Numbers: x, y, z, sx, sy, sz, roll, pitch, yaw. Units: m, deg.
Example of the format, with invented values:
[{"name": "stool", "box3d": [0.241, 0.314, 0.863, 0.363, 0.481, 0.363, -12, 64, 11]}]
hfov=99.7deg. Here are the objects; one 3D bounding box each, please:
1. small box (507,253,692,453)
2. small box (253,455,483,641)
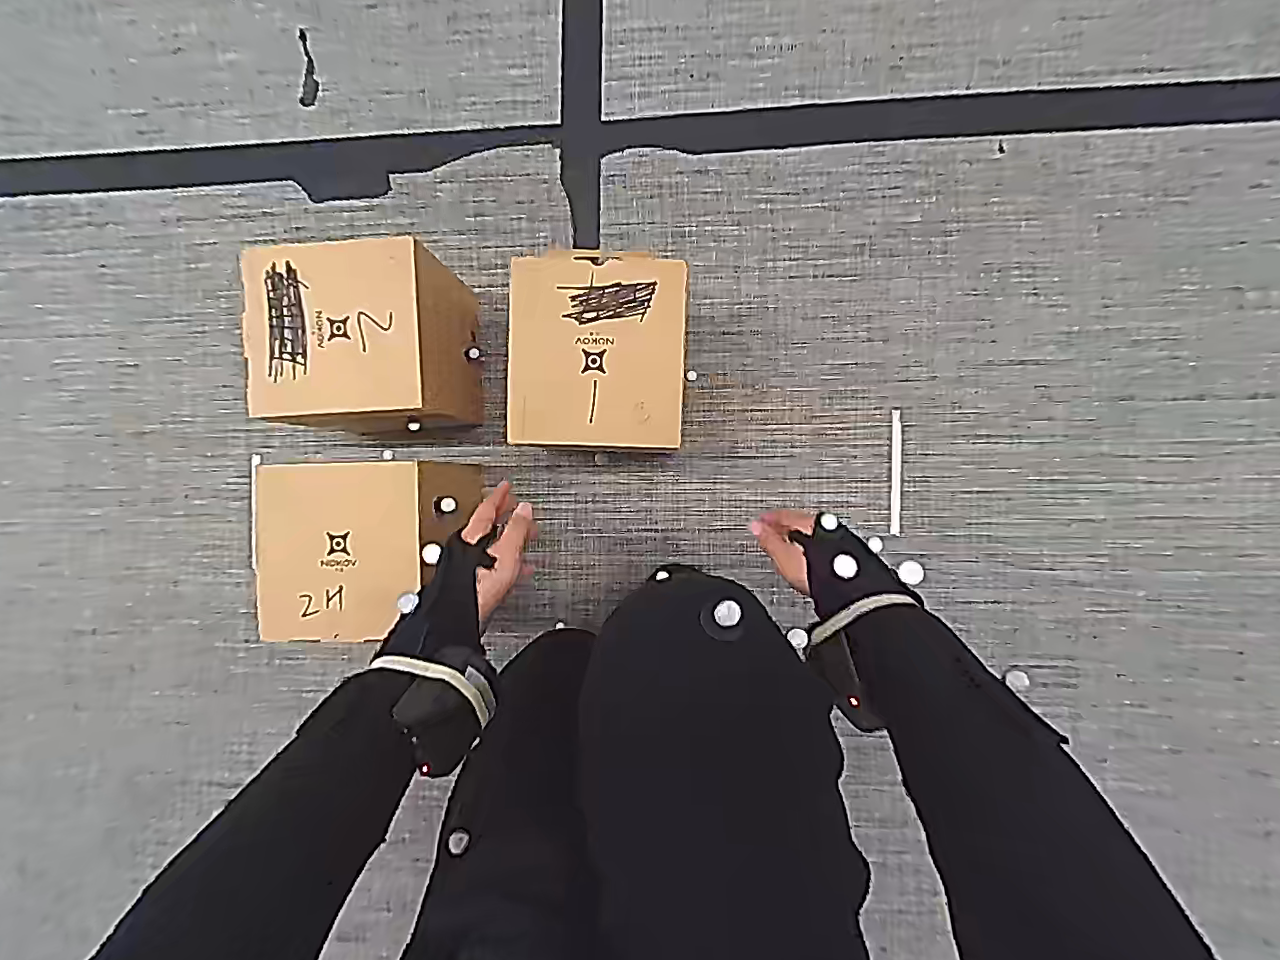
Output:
[{"name": "small box", "box3d": [-0.035, -0.121, 0.576, 0.168, 0.176, 0.179, 2, 92, 3]}, {"name": "small box", "box3d": [-0.280, 0.065, 0.590, 0.168, 0.176, 0.179, -1, 91, 4]}]
